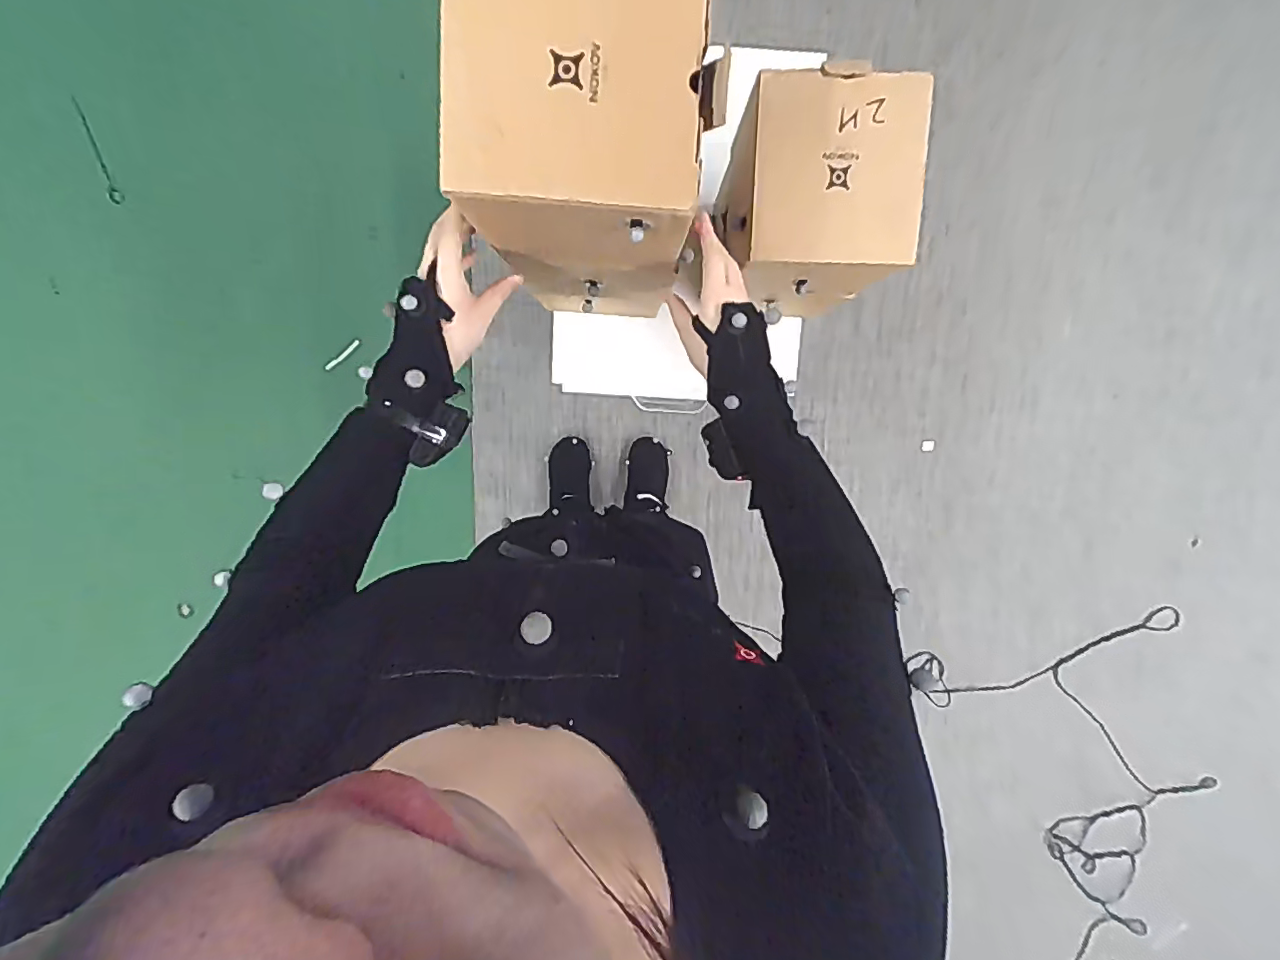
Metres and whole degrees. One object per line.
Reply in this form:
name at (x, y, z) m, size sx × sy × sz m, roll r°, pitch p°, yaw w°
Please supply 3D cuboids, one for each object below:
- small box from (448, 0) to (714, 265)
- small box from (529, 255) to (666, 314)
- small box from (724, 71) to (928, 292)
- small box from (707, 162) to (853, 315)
small box at (-0.043, -0.285, 0.442) m, size 0.179 × 0.176 × 0.168 m, roll 3°, pitch 98°, yaw -3°
small box at (-0.053, -0.335, 0.765) m, size 0.179 × 0.176 × 0.168 m, roll 3°, pitch 99°, yaw -3°
small box at (0.191, -0.315, 0.608) m, size 0.168 × 0.176 × 0.179 m, roll 1°, pitch 99°, yaw -1°
small box at (0.195, -0.336, 0.771) m, size 0.179 × 0.176 × 0.168 m, roll 3°, pitch 99°, yaw -2°
